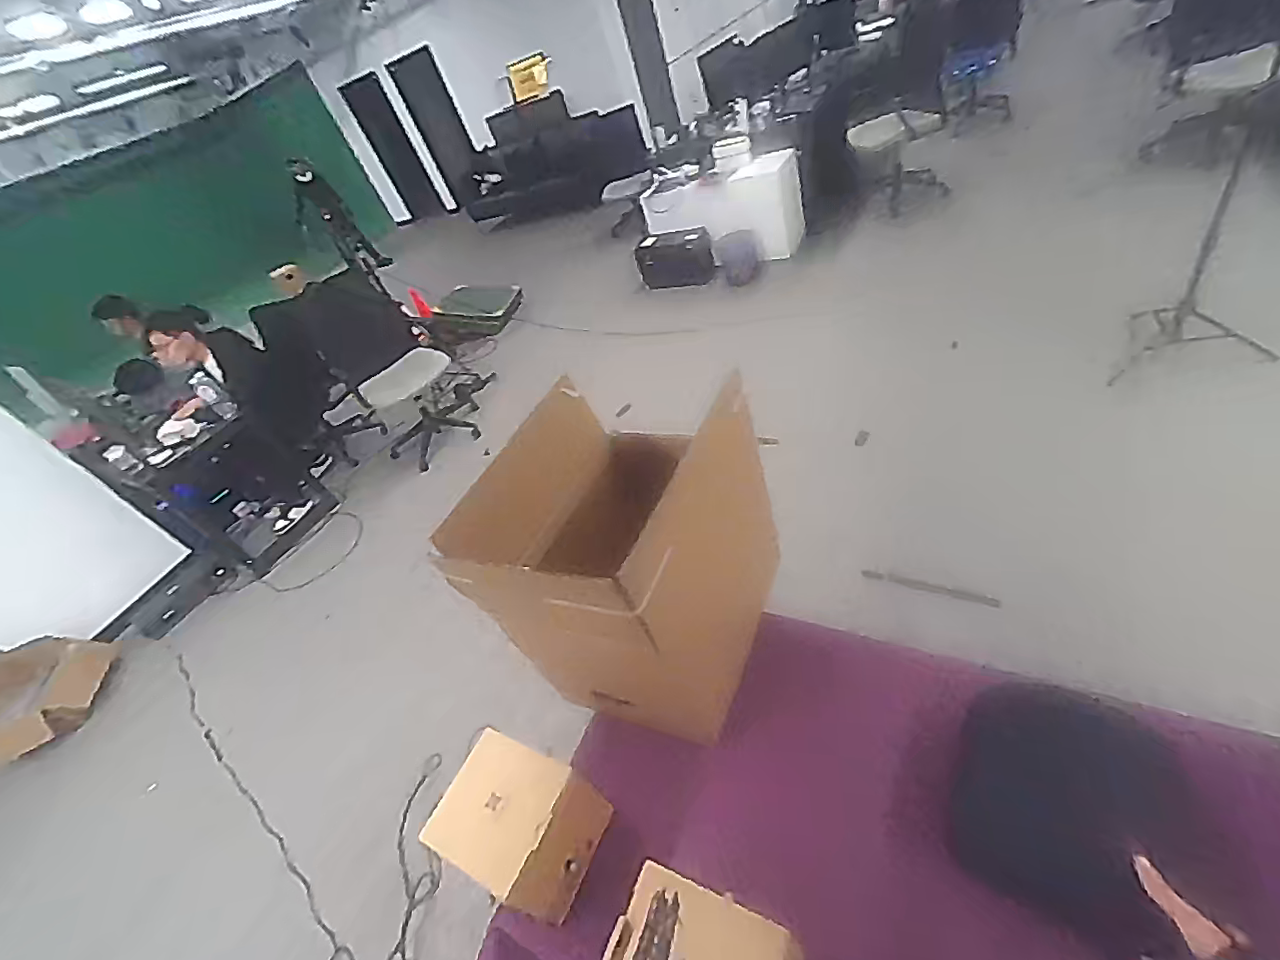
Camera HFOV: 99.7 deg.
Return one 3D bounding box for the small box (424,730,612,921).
[{"bbox_3d":[-0.170,0.510,0.801,0.179,0.176,0.168,8,48,31],"label":"small box"}]
